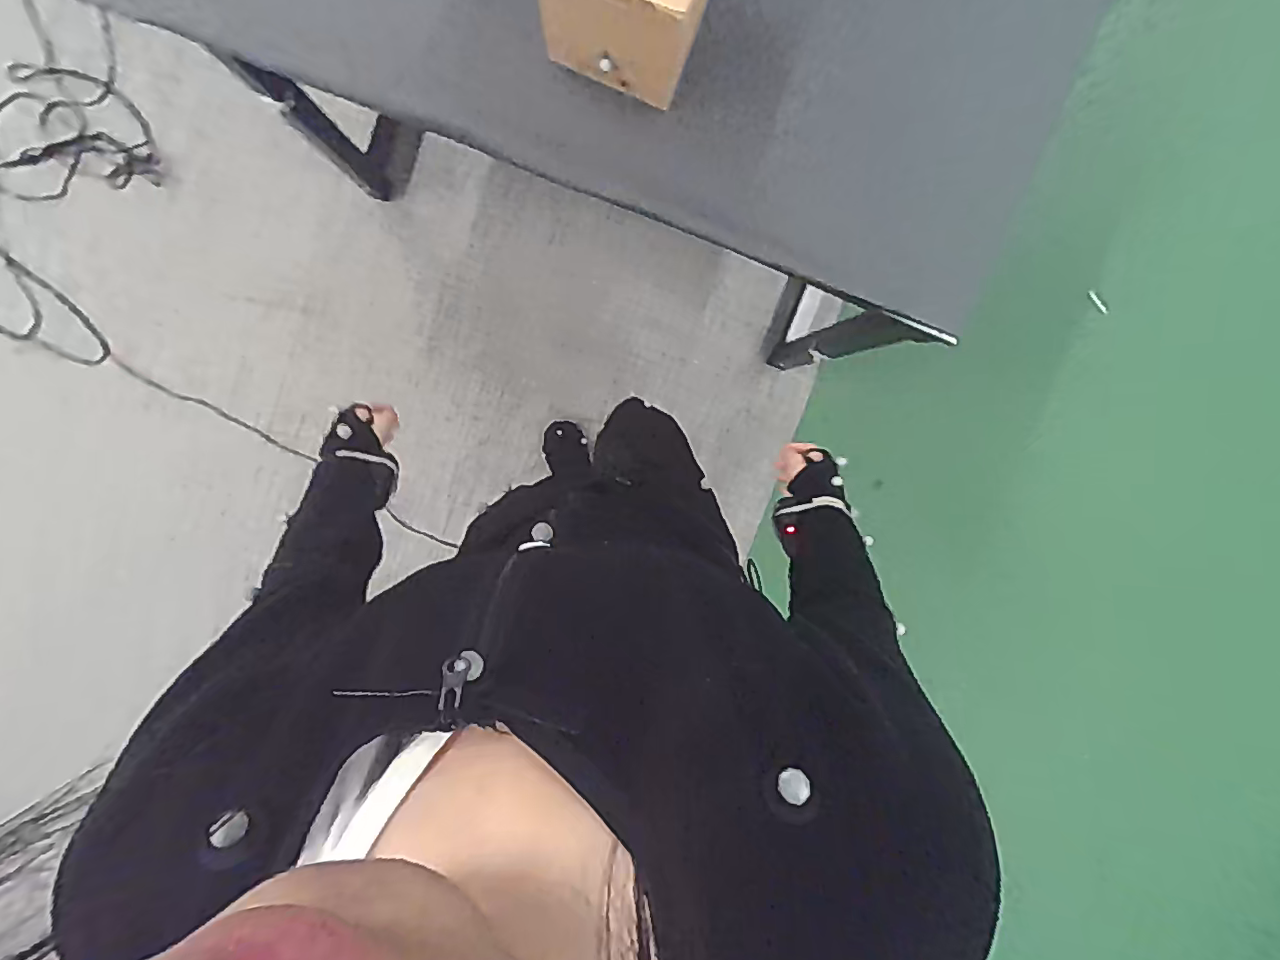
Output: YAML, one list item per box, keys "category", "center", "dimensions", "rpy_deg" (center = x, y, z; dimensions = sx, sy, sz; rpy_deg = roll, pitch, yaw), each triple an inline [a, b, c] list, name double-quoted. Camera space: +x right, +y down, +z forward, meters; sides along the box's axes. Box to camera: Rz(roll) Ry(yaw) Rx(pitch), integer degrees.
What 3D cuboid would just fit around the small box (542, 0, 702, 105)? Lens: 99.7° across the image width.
- category: "small box"
  center: [-0.010, -0.580, 0.605]
  dimensions: [0.168, 0.176, 0.179]
  rpy_deg: [20, 95, -6]
